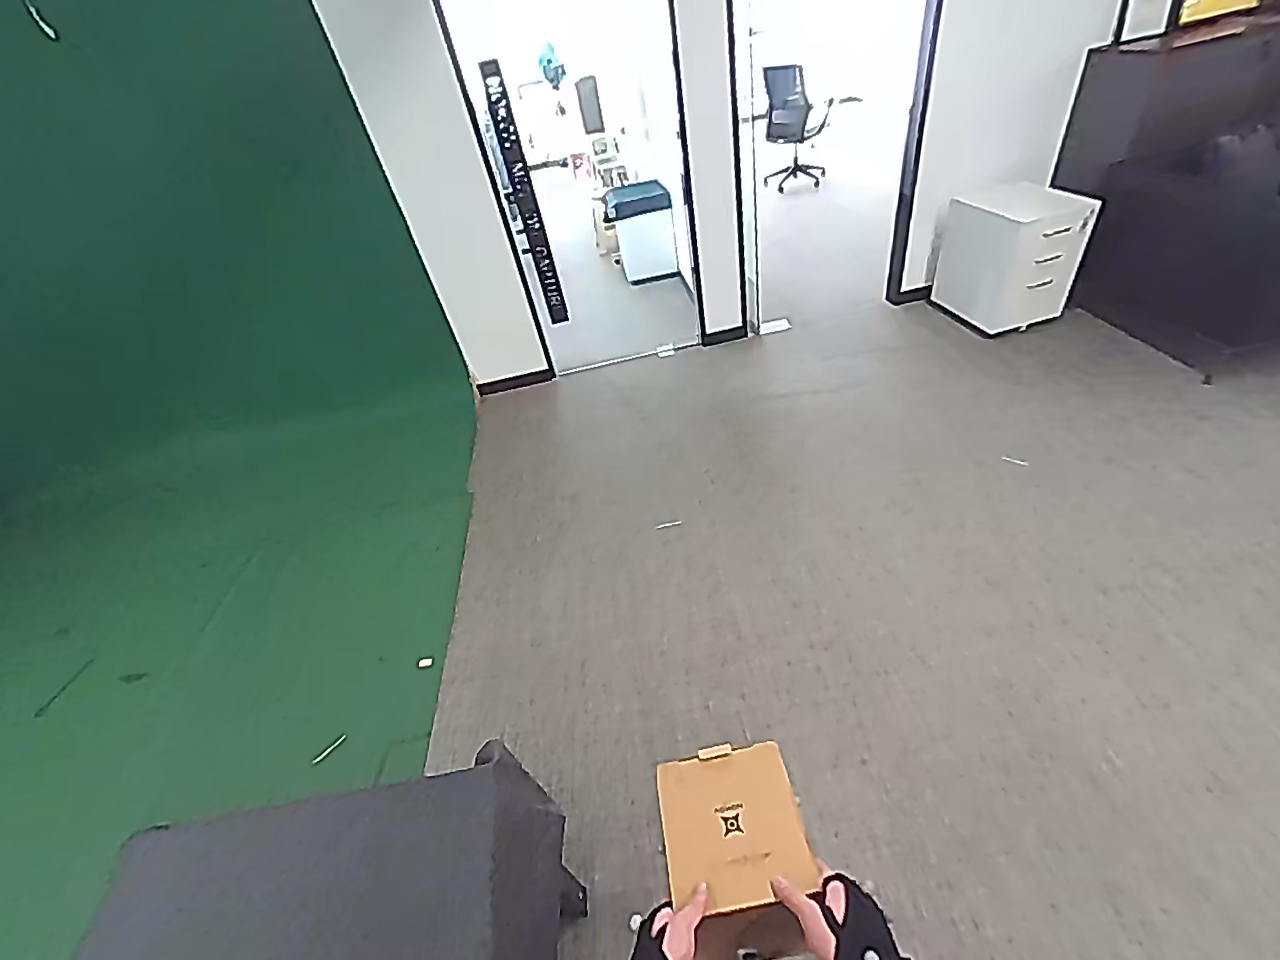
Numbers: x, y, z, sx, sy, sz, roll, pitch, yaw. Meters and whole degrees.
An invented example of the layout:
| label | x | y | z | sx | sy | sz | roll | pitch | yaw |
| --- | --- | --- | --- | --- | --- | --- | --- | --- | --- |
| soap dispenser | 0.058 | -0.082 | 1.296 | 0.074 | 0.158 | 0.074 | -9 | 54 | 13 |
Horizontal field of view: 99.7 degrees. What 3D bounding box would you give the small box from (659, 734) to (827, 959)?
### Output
| label | x | y | z | sx | sy | sz | roll | pitch | yaw |
| --- | --- | --- | --- | --- | --- | --- | --- | --- | --- |
| small box | 0.124 | 0.458 | 0.676 | 0.168 | 0.176 | 0.179 | -13 | 31 | 4 |
